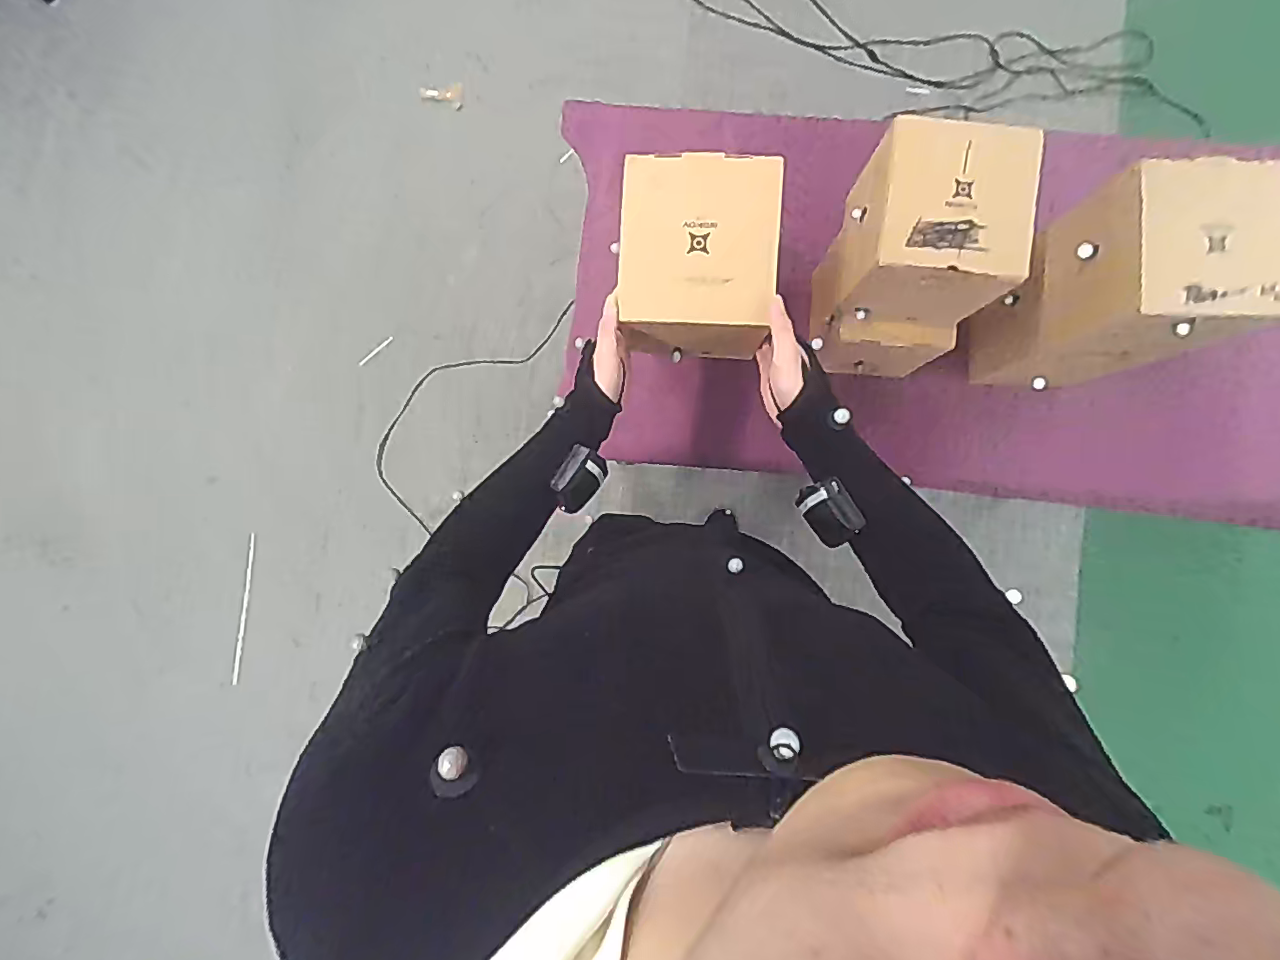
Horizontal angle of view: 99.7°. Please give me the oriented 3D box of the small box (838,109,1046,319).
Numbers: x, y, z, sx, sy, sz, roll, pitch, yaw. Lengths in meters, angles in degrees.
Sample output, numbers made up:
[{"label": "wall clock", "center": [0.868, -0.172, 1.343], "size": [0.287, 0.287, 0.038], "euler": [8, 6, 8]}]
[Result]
[{"label": "small box", "center": [0.360, -0.316, 0.677], "size": [0.168, 0.176, 0.179], "euler": [7, 87, 3]}]

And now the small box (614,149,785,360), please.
[{"label": "small box", "center": [0.064, -0.248, 0.628], "size": [0.168, 0.176, 0.179], "euler": [4, 92, 4]}]

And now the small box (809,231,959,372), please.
[{"label": "small box", "center": [0.369, -0.277, 0.839], "size": [0.168, 0.176, 0.179], "euler": [3, 88, 2]}]

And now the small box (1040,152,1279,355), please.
[{"label": "small box", "center": [0.627, -0.264, 0.660], "size": [0.168, 0.176, 0.179], "euler": [1, 86, 3]}]

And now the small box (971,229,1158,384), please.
[{"label": "small box", "center": [0.634, -0.255, 0.824], "size": [0.168, 0.176, 0.179], "euler": [2, 87, 3]}]
